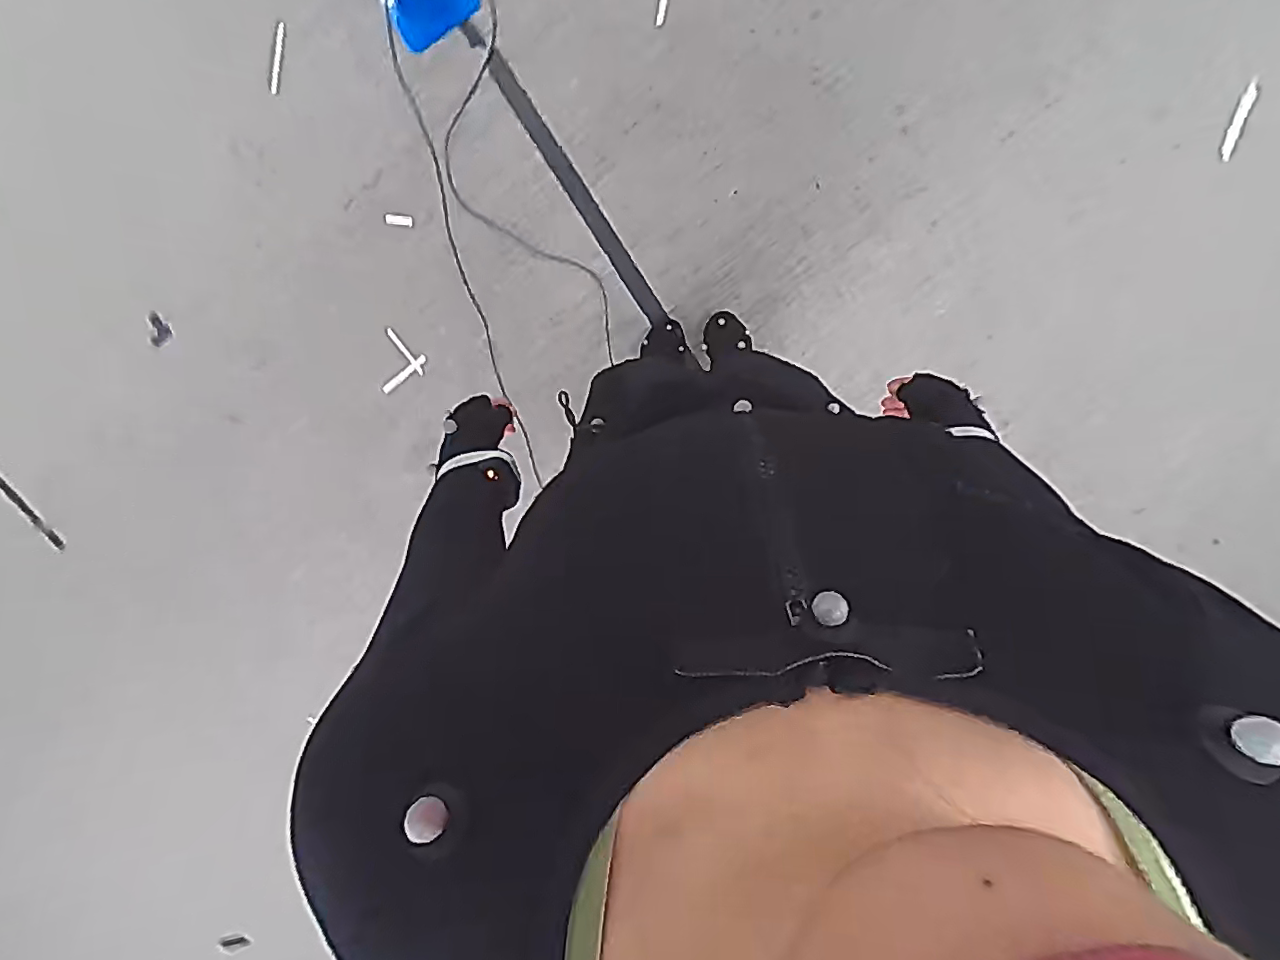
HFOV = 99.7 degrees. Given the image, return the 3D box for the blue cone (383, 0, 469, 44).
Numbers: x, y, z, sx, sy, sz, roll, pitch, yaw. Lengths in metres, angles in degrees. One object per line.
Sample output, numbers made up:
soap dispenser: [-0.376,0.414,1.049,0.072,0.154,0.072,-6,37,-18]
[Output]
blue cone: [-0.488,-1.041,1.025,0.193,0.380,0.192,-30,103,11]
